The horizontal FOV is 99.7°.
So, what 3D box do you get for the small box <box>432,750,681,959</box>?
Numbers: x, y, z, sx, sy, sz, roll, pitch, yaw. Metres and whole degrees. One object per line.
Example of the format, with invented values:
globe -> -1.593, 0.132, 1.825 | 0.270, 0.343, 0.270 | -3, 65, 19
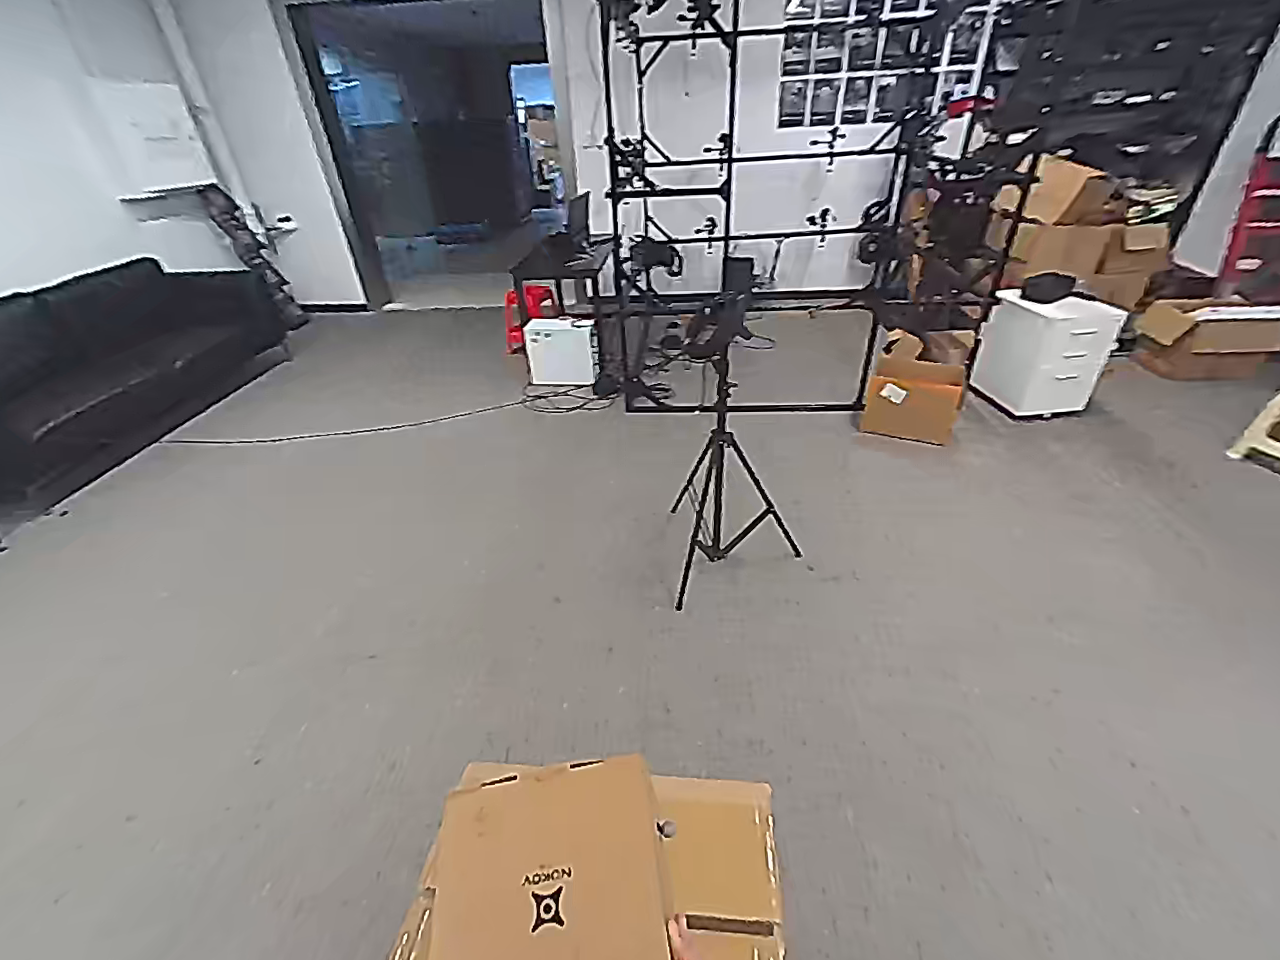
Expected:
small box -> -0.058, 0.355, 0.446 | 0.168, 0.176, 0.179 | -11, 46, -2
